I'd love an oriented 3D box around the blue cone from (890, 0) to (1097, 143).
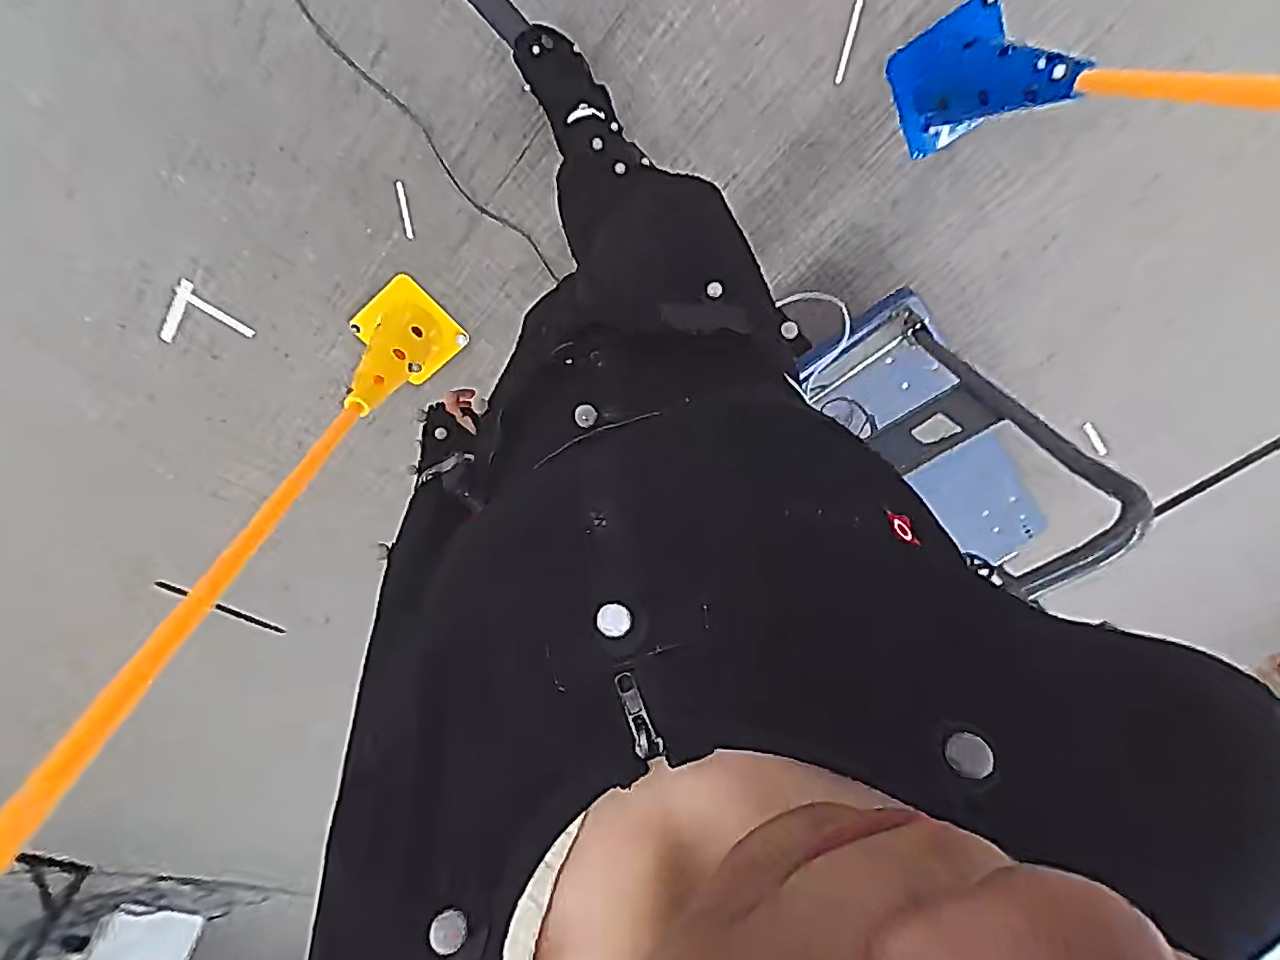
[{"bbox_3d":[0.581,-0.661,0.865,0.193,0.380,0.192,-28,122,16],"label":"blue cone"}]
